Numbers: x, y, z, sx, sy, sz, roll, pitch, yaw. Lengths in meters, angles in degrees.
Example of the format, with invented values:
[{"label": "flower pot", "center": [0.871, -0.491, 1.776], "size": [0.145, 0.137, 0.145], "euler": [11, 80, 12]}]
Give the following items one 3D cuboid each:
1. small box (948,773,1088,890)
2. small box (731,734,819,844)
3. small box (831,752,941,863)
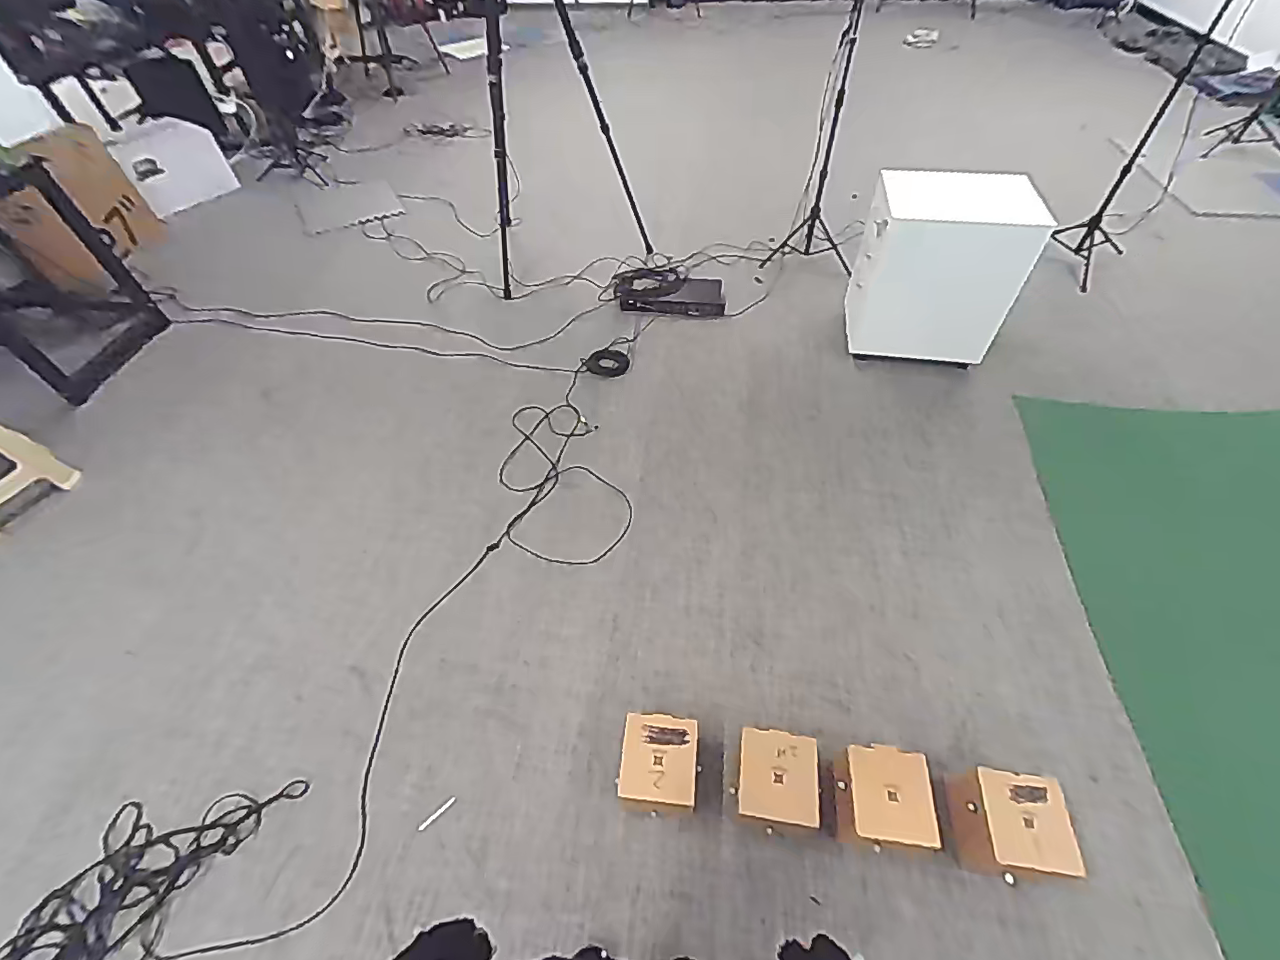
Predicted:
[{"label": "small box", "center": [0.787, 0.750, 1.151], "size": [0.168, 0.176, 0.179], "euler": [5, 51, 6]}, {"label": "small box", "center": [0.298, 0.695, 1.210], "size": [0.168, 0.176, 0.179], "euler": [7, 51, 7]}, {"label": "small box", "center": [0.527, 0.720, 1.185], "size": [0.168, 0.176, 0.179], "euler": [5, 50, 5]}]
